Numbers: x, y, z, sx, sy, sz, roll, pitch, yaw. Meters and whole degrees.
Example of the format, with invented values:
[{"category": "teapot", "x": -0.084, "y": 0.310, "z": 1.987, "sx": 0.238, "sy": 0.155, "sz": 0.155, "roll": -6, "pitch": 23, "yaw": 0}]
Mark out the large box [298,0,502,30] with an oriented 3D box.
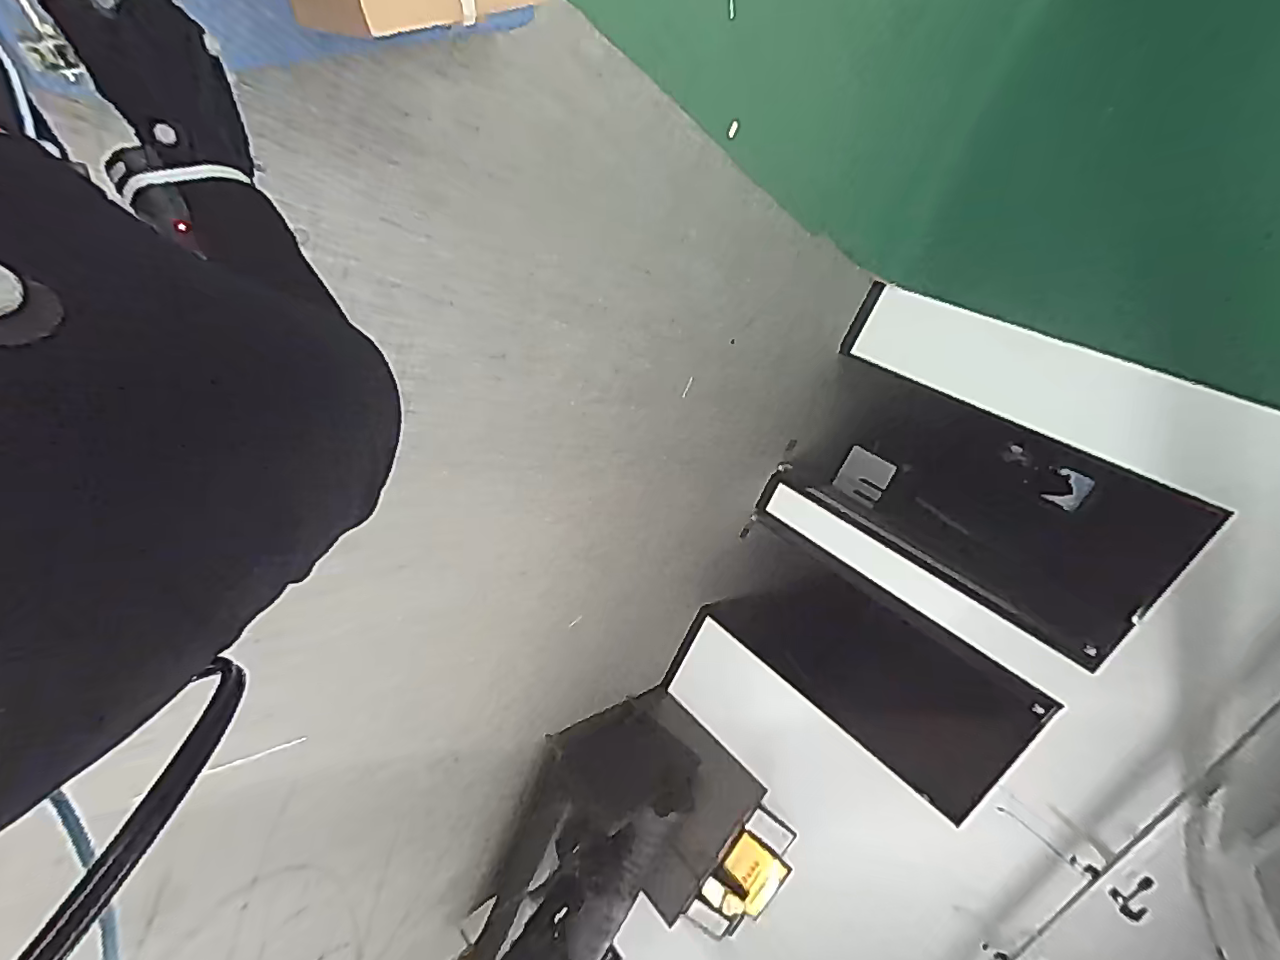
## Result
[{"category": "large box", "x": -0.386, "y": -0.927, "z": 0.766, "sx": 0.320, "sy": 0.320, "sz": 0.408, "roll": -37, "pitch": 142, "yaw": -25}]
